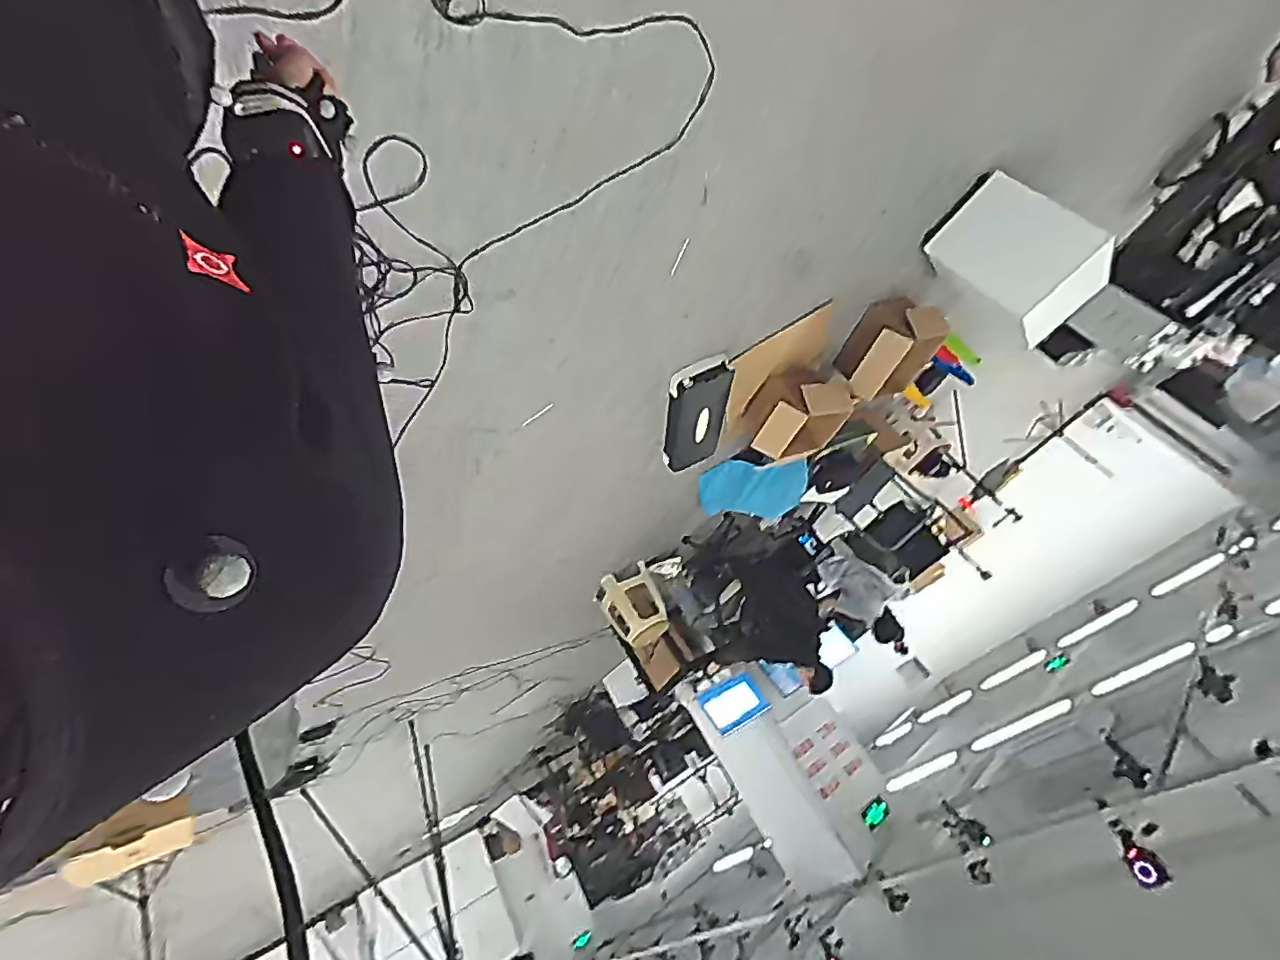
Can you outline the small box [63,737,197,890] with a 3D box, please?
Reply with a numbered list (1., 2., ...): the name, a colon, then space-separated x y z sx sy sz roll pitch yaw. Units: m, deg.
1. small box: -0.932 0.602 0.996 0.168 0.176 0.179 -6 143 -42
